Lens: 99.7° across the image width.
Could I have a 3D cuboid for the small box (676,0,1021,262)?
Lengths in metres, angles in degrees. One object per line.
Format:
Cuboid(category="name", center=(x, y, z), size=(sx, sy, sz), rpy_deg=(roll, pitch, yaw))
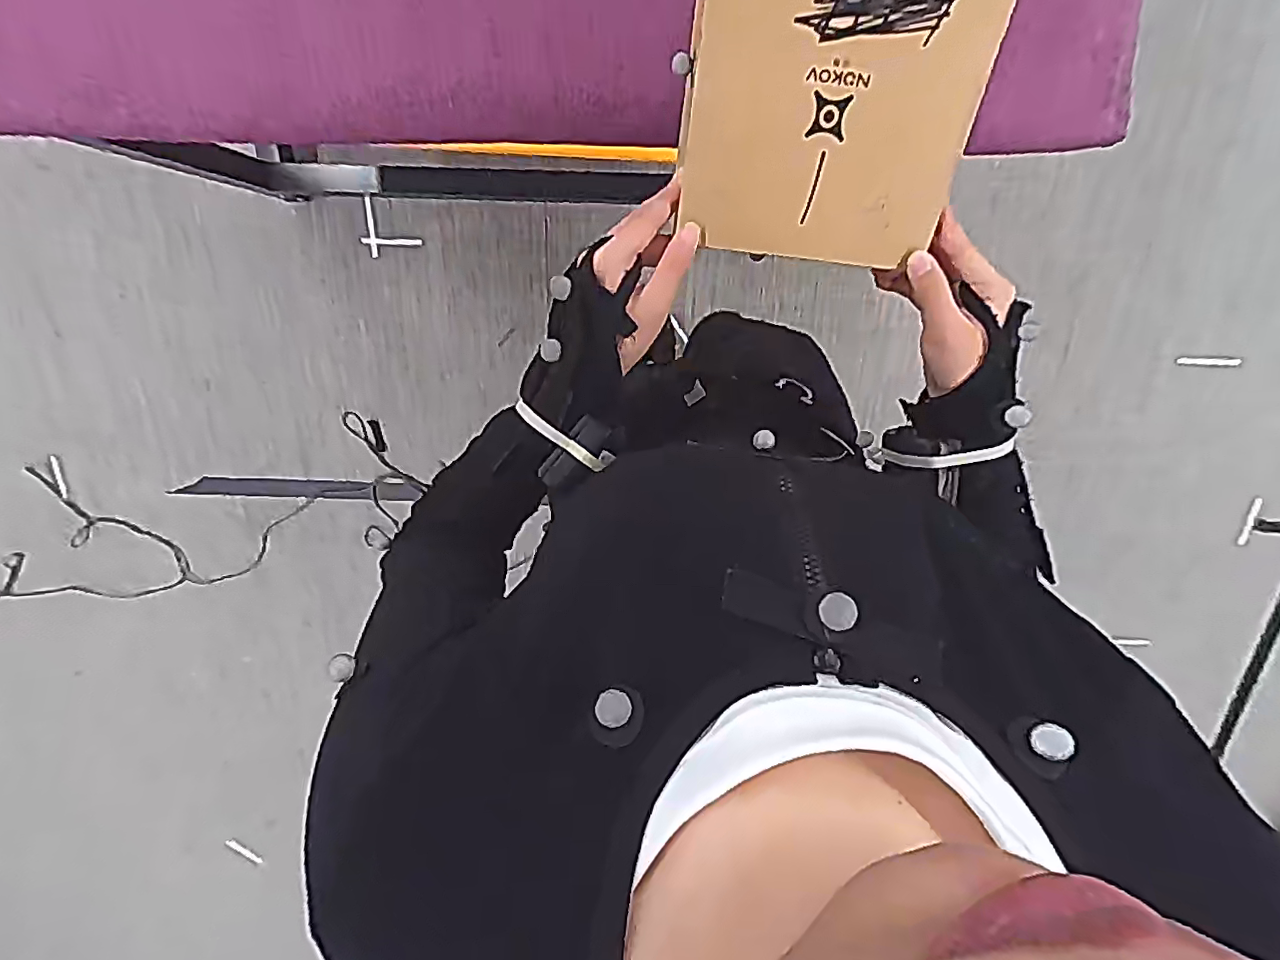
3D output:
Cuboid(category="small box", center=(0.118, -0.265, 0.376), size=(0.168, 0.176, 0.179), rpy_deg=(7, 120, -1))
